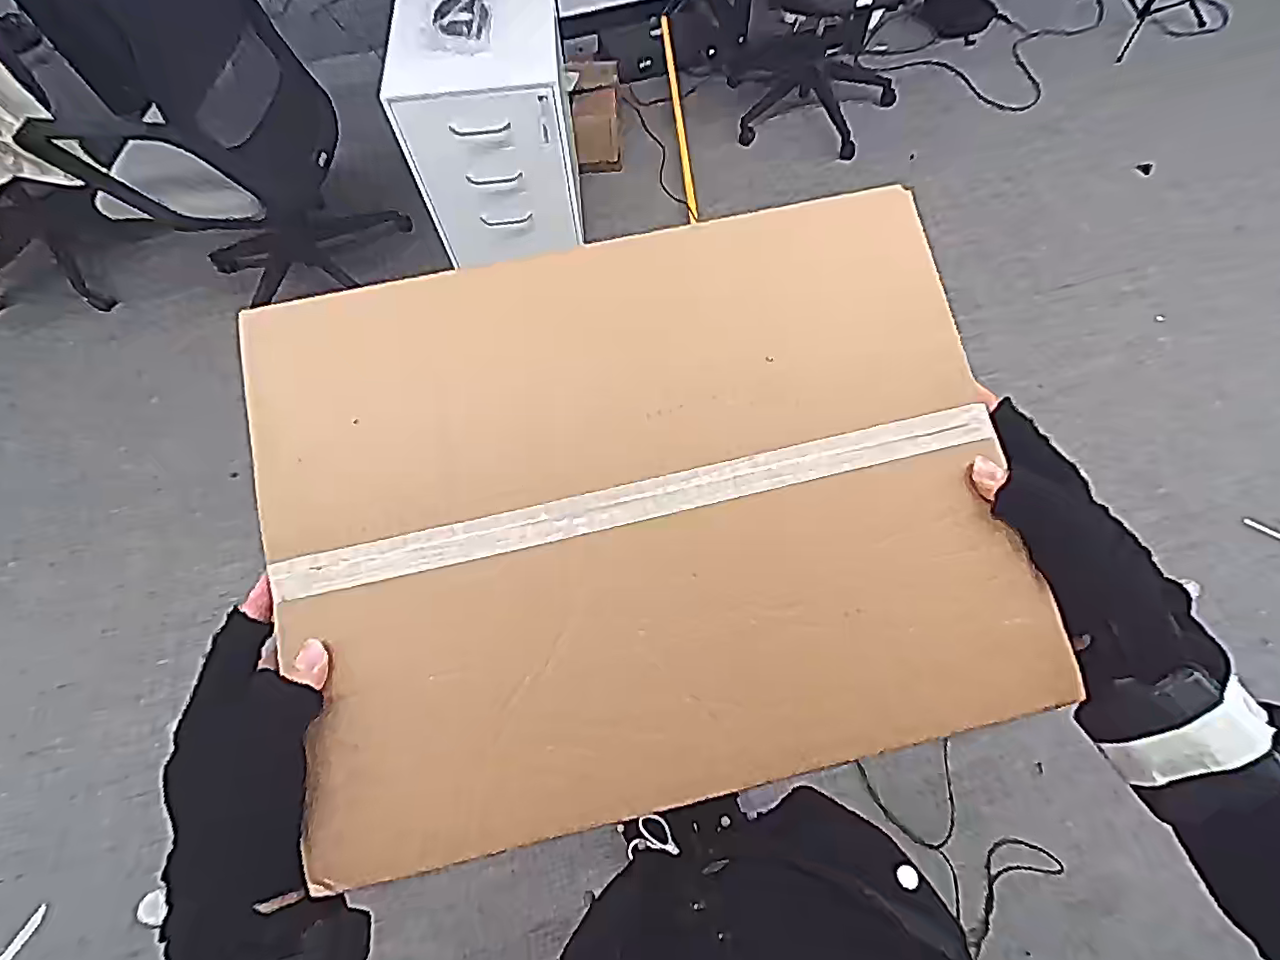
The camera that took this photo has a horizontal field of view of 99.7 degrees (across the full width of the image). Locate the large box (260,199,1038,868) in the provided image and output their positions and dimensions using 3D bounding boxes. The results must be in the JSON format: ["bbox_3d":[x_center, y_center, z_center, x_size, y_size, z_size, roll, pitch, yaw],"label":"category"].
[{"bbox_3d":[-0.003,0.032,0.458,0.408,0.320,0.320,-12,80,-4],"label":"large box"}]
